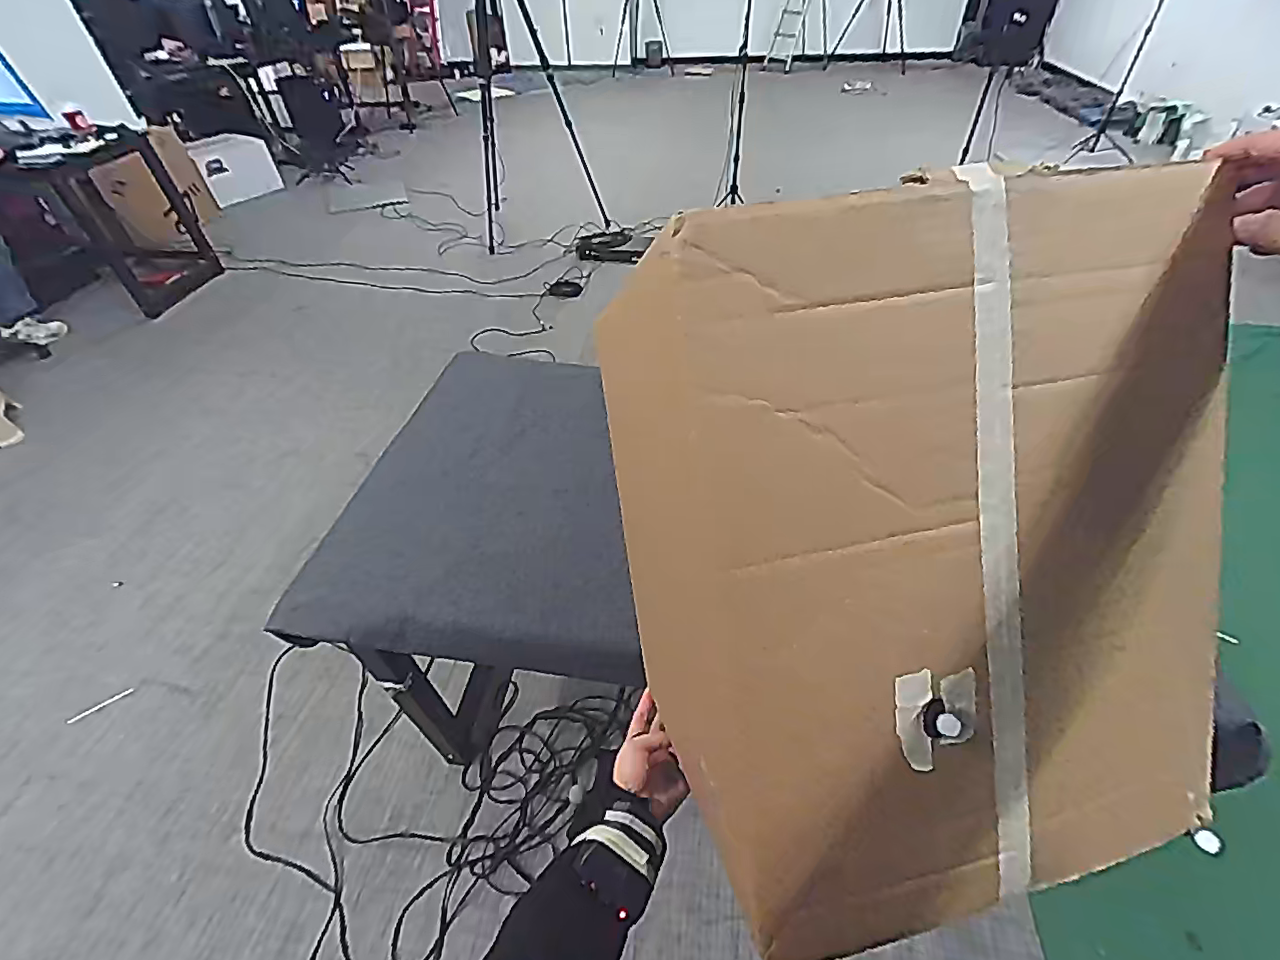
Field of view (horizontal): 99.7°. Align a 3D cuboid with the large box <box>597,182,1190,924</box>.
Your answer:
[{"bbox_3d":[0.164,0.026,0.459,0.320,0.408,0.320,-11,11,-10],"label":"large box"}]
